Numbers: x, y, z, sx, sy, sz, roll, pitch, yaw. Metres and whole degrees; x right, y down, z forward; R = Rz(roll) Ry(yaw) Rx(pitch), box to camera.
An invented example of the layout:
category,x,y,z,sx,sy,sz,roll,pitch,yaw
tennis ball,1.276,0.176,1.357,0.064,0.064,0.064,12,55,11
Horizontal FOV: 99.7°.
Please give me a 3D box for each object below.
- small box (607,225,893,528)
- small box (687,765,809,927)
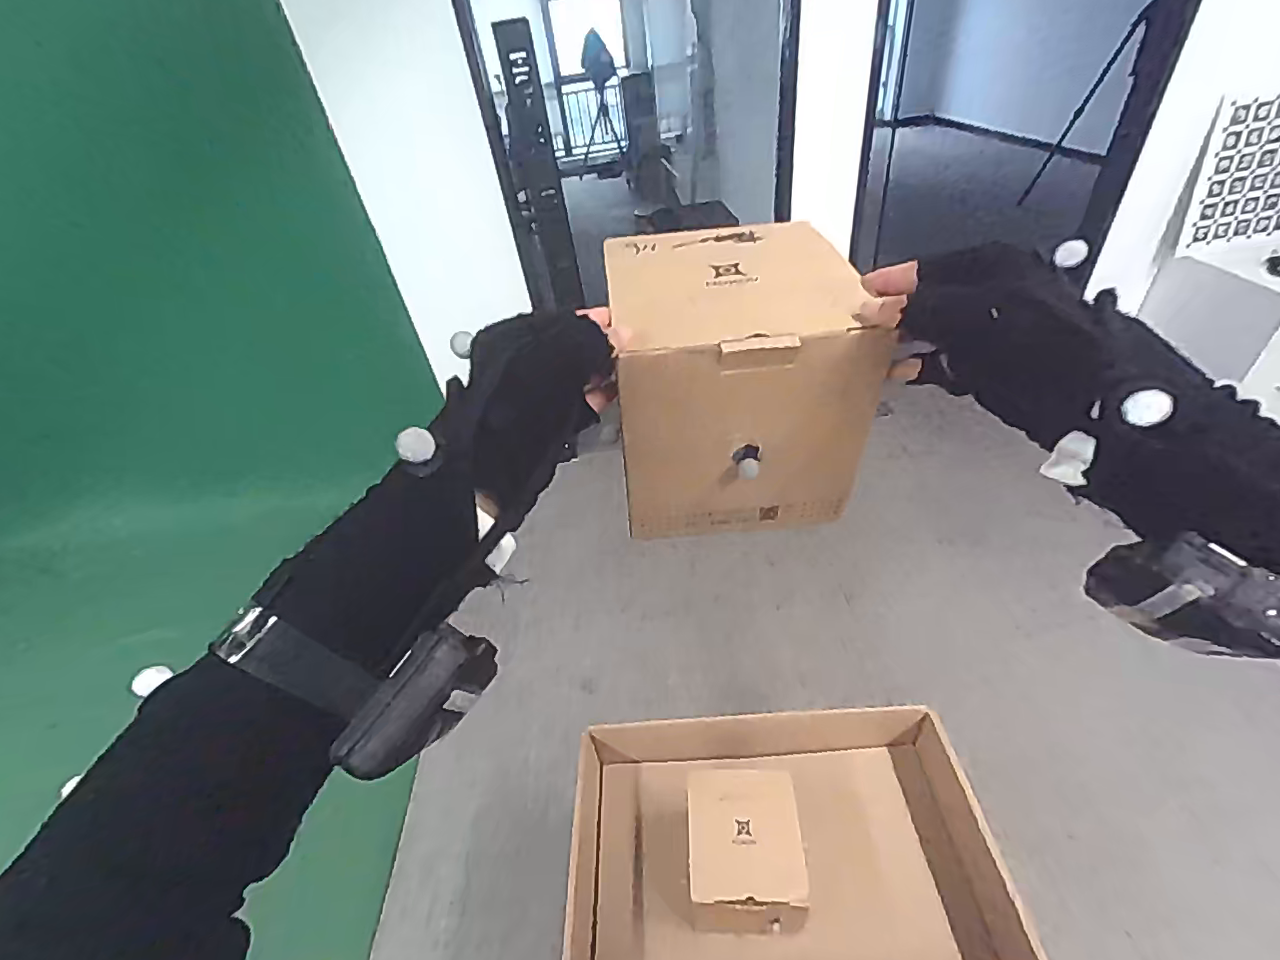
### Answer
category,x,y,z,sx,sy,sz,roll,pitch,yaw
small box,0.067,-0.076,0.425,0.168,0.176,0.179,-6,44,-1
small box,0.161,0.577,0.853,0.168,0.176,0.179,-2,38,4
